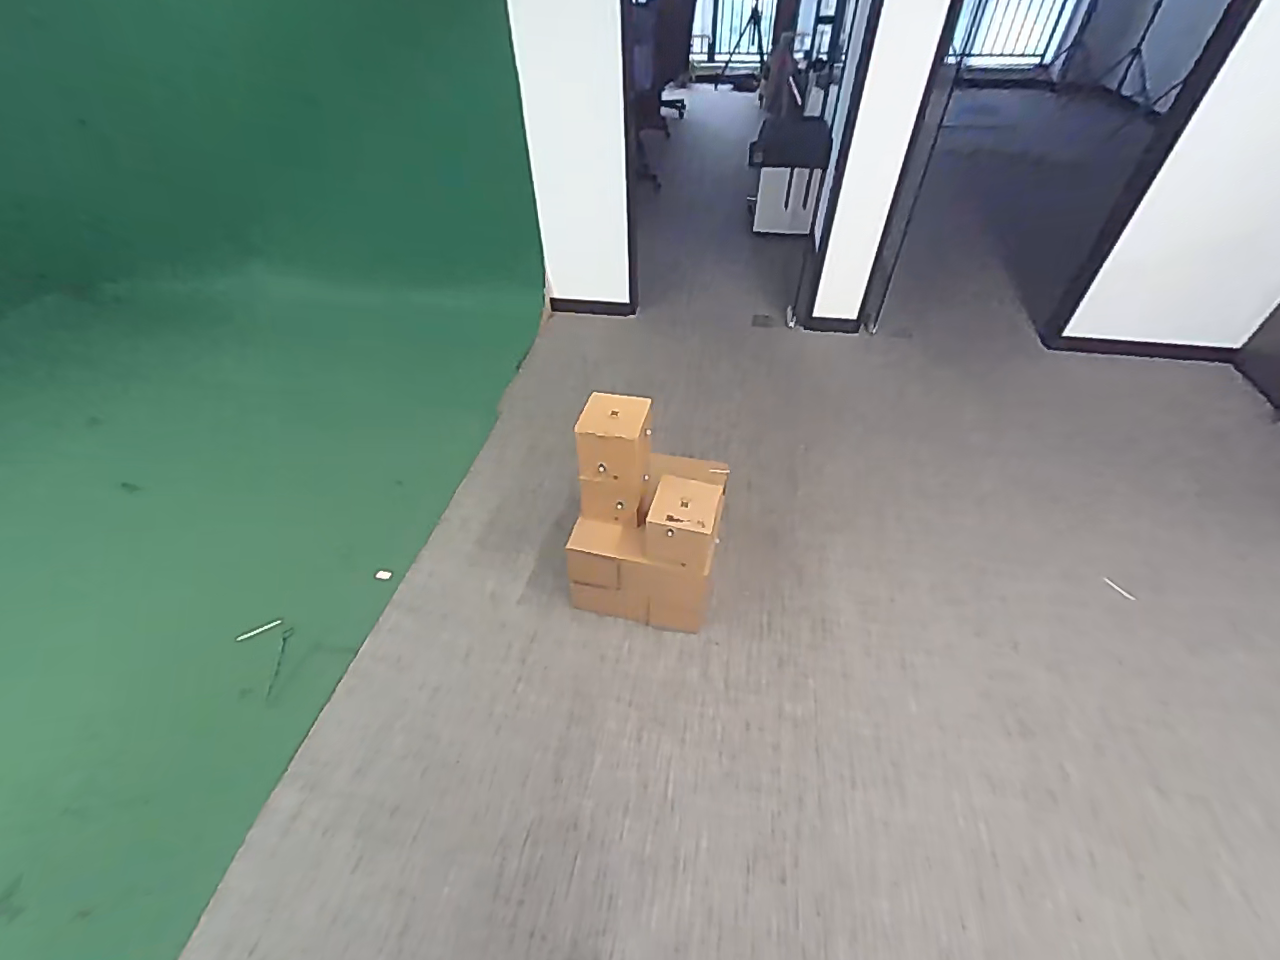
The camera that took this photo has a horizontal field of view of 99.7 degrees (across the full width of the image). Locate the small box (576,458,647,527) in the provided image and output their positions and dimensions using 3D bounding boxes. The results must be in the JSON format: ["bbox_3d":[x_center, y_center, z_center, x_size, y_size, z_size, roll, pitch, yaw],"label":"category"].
[{"bbox_3d":[-0.074,0.012,1.559,0.168,0.176,0.179,10,43,11],"label":"small box"}]

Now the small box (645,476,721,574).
[{"bbox_3d":[0.111,0.119,1.441,0.168,0.176,0.179,11,44,12],"label":"small box"}]

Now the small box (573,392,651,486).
[{"bbox_3d":[-0.070,-0.108,1.448,0.168,0.176,0.179,9,46,11],"label":"small box"}]
